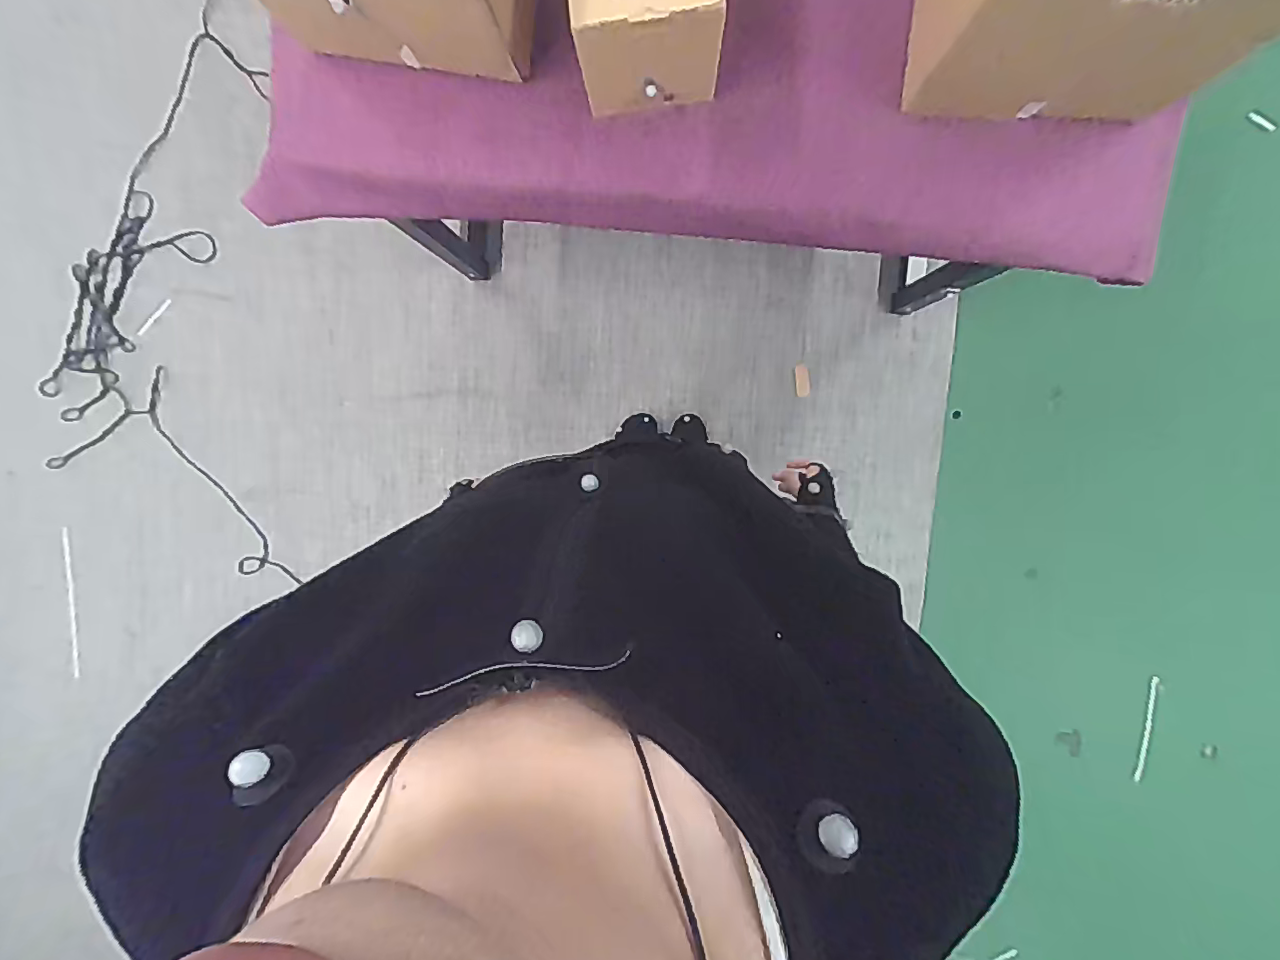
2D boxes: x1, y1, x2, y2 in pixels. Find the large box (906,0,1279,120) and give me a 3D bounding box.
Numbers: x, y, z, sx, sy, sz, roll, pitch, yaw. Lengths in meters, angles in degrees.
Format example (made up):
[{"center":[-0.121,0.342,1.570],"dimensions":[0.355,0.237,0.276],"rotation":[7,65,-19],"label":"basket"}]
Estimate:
[{"center":[0.500,-0.655,0.536],"dimensions":[0.320,0.320,0.408],"rotation":[4,97,4],"label":"large box"}]
